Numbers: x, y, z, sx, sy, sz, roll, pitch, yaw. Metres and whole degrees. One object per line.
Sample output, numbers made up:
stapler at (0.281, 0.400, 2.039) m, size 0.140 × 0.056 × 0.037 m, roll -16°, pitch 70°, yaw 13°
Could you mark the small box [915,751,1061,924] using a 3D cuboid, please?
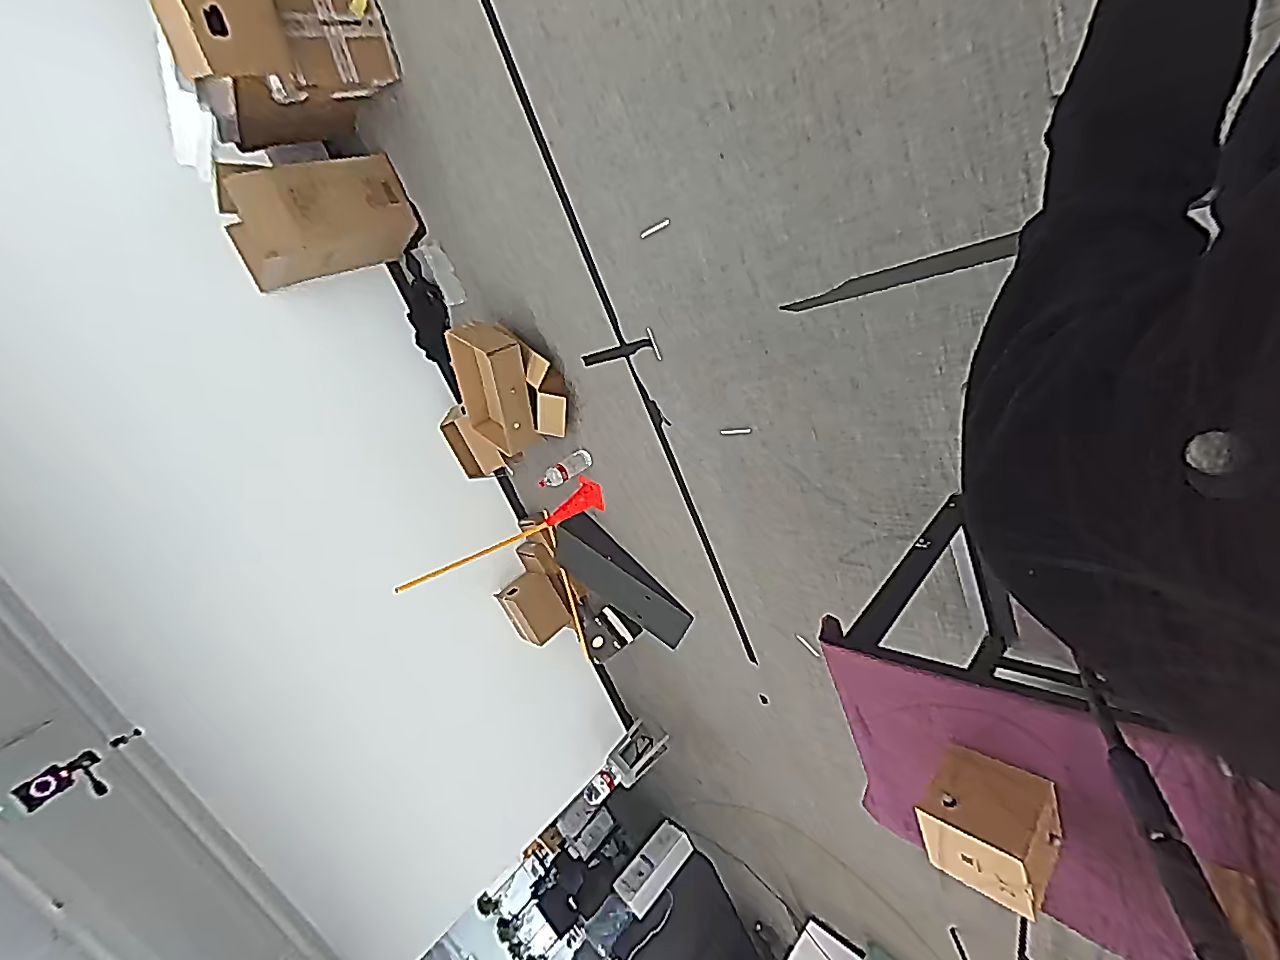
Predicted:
small box at (0.643, 0.640, 0.997) m, size 0.179 × 0.176 × 0.168 m, roll 3°, pitch 122°, yaw 51°
